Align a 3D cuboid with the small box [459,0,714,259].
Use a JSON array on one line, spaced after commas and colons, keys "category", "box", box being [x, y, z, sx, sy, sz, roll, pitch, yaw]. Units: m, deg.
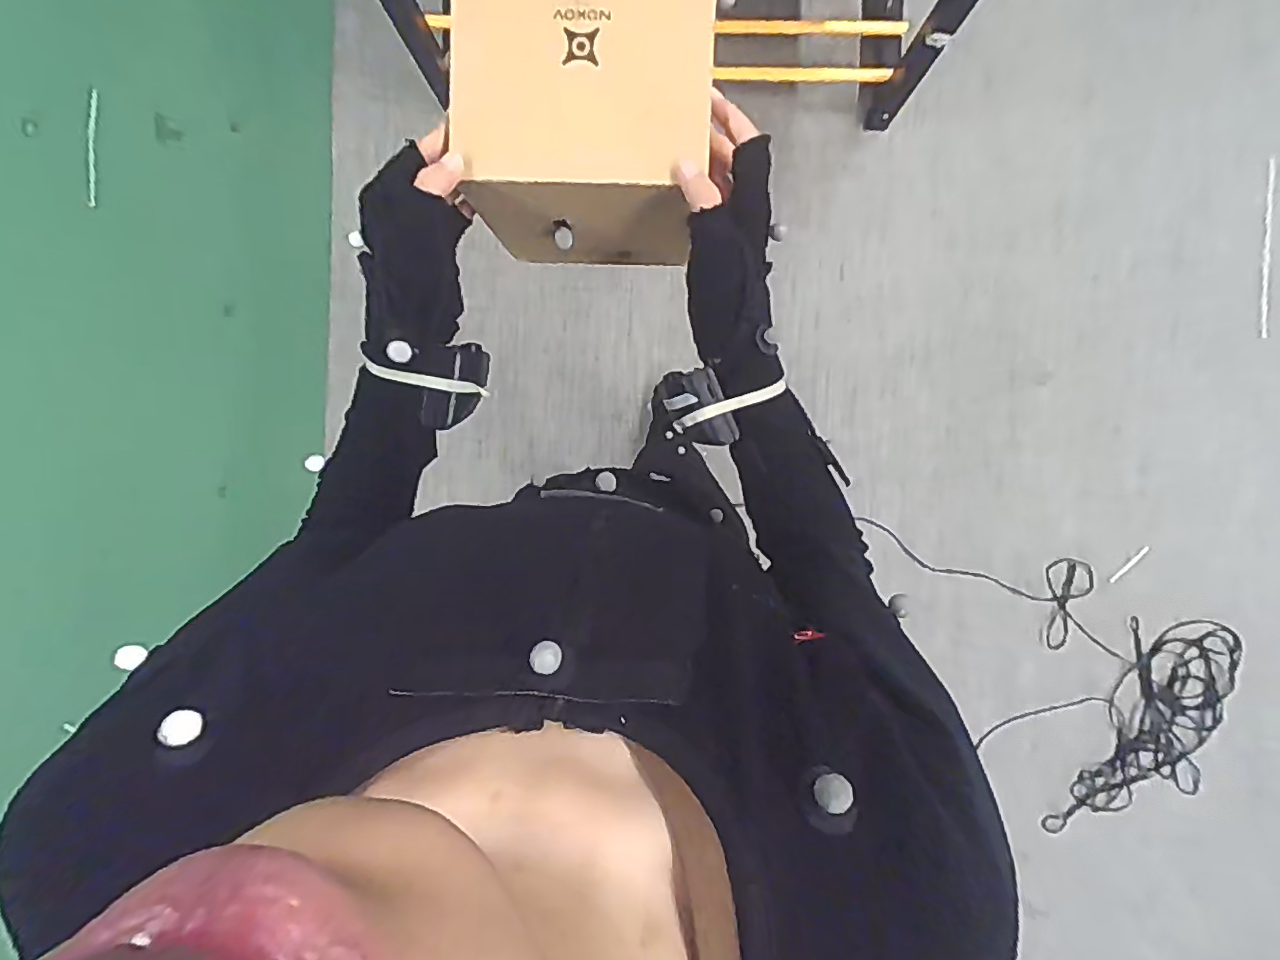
[{"category": "small box", "box": [-0.031, -0.286, 0.425, 0.168, 0.176, 0.179, 1, 94, 1]}]
